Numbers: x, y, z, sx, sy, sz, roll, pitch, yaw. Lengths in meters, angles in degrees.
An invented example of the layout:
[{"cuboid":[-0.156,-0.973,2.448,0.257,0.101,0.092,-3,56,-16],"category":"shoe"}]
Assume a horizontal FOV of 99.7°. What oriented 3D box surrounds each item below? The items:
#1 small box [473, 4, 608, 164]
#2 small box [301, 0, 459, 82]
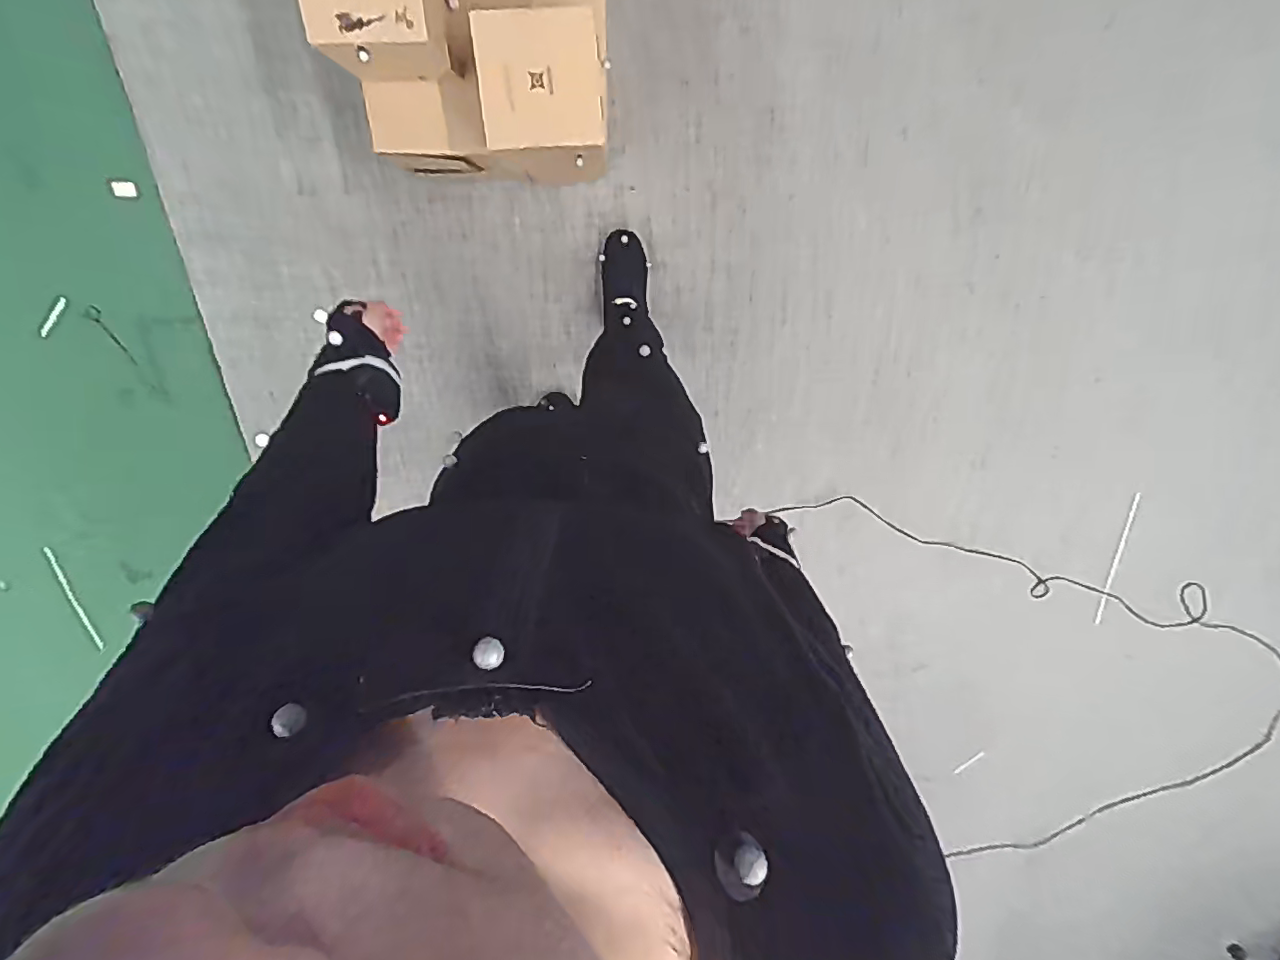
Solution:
[{"cuboid":[-0.141,-0.595,0.832,0.179,0.176,0.168,-3,112,-2],"category":"small box"},{"cuboid":[-0.370,-0.704,0.775,0.168,0.176,0.179,-1,111,-2],"category":"small box"}]
